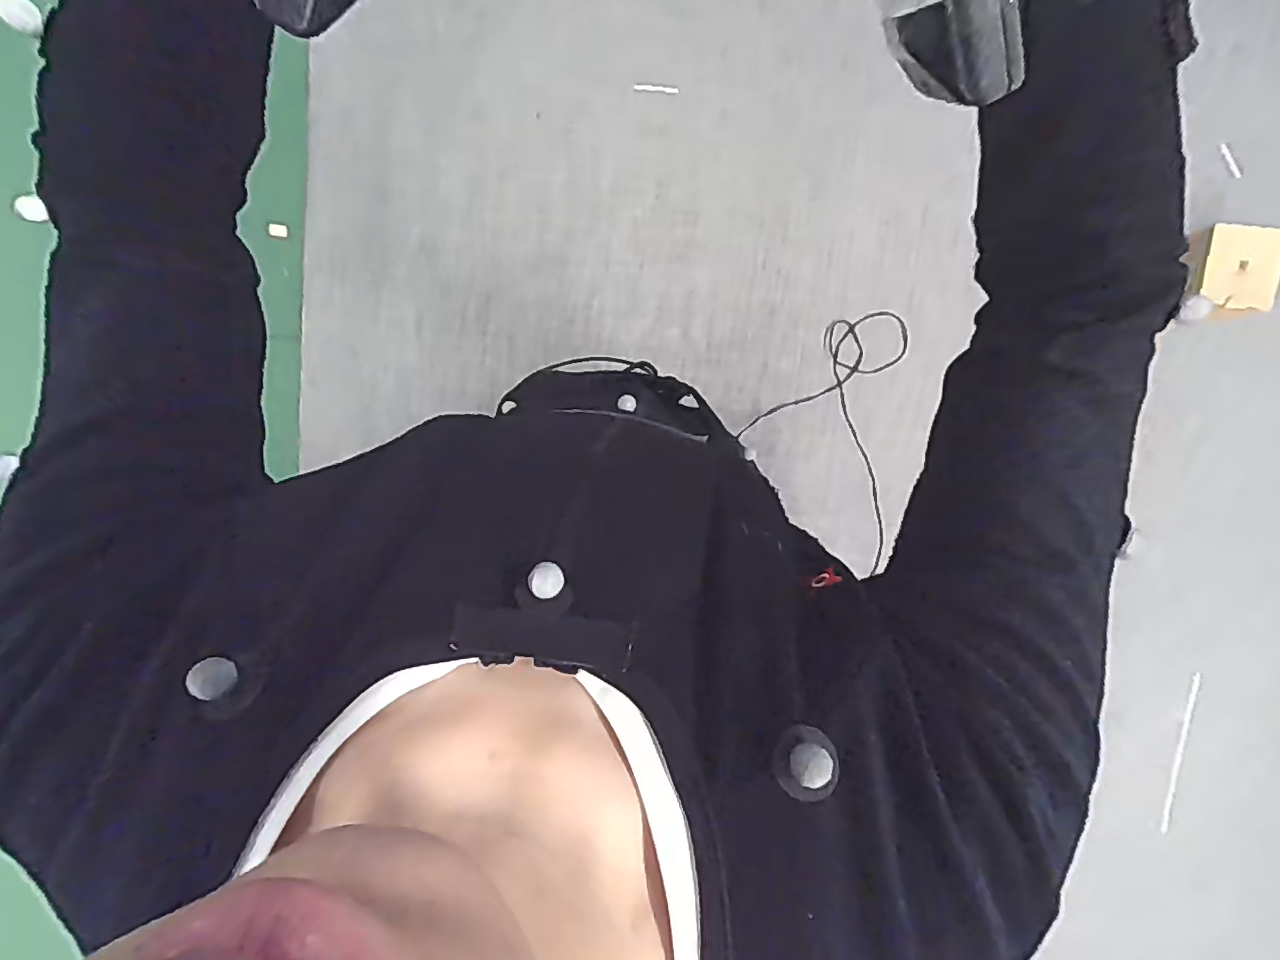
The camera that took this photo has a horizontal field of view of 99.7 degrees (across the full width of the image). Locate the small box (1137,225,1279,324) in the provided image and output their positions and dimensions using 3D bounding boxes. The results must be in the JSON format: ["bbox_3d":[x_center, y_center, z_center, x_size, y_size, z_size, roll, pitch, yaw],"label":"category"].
[{"bbox_3d":[1.340,-0.480,1.282,0.168,0.176,0.179,6,97,1],"label":"small box"}]
